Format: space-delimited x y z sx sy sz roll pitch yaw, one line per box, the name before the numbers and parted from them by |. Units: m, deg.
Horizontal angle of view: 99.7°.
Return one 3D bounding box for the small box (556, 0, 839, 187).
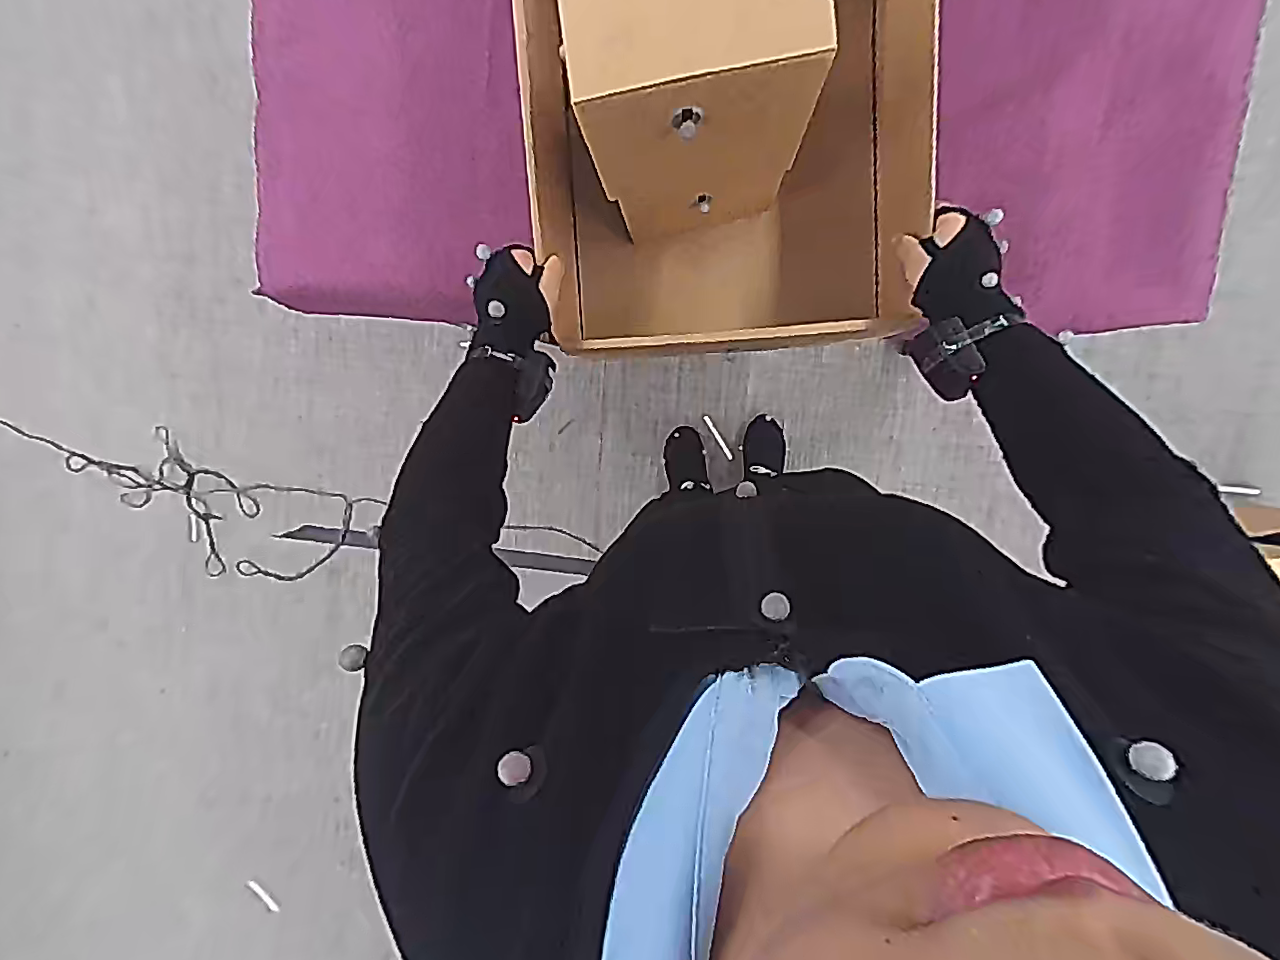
small box | 0.037 -0.350 0.414 0.179 0.176 0.168 -7 96 6
